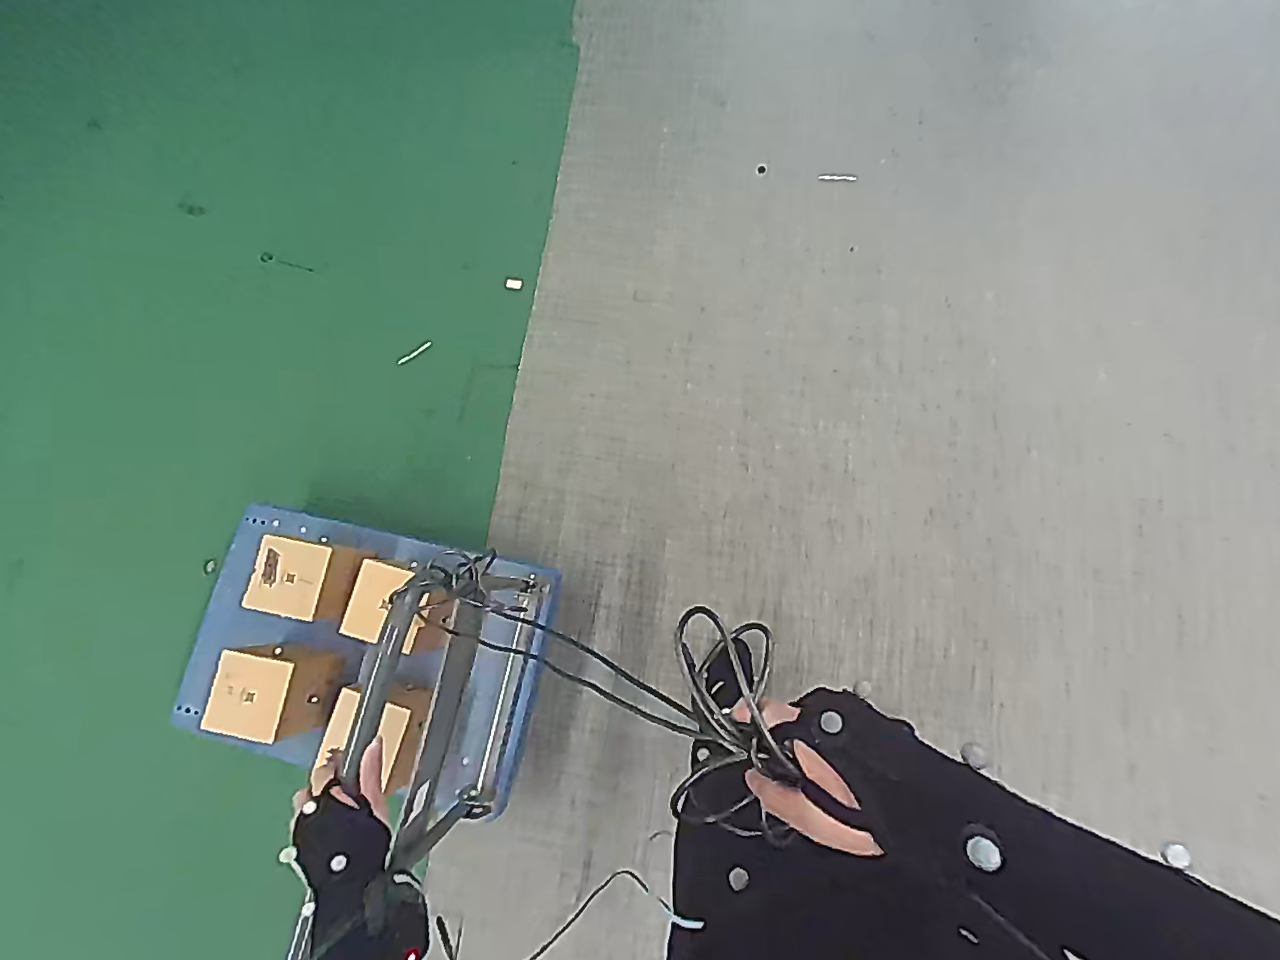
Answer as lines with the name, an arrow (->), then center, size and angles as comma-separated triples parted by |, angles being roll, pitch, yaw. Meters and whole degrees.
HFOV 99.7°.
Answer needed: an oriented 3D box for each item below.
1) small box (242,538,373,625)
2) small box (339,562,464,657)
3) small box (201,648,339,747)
small box -> -0.774, 0.240, 1.277 | 0.179, 0.176, 0.168 | 10, 80, 7
small box -> -0.537, 0.293, 1.239 | 0.179, 0.176, 0.168 | 13, 80, 9
small box -> -0.829, 0.485, 1.232 | 0.179, 0.176, 0.168 | 8, 79, 8
